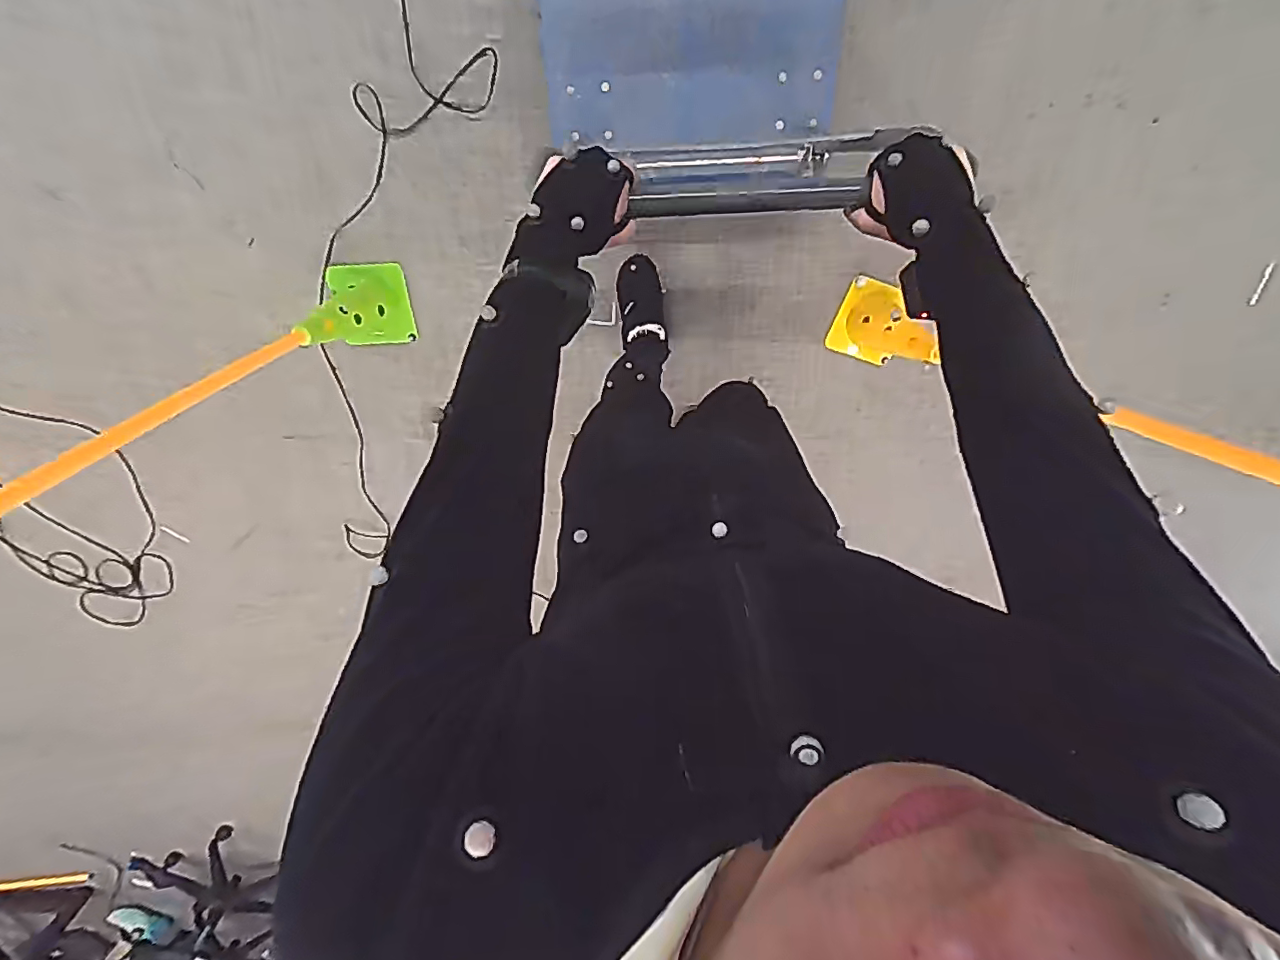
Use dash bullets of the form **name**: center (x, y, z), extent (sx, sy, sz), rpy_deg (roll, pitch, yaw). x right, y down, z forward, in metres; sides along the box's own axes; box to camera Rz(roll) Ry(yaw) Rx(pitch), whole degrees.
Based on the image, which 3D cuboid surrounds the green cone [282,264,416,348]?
- **green cone**: center (-0.700, -0.374, 1.255), extent (0.202, 0.368, 0.200), rpy_deg (-2, 117, 2)
